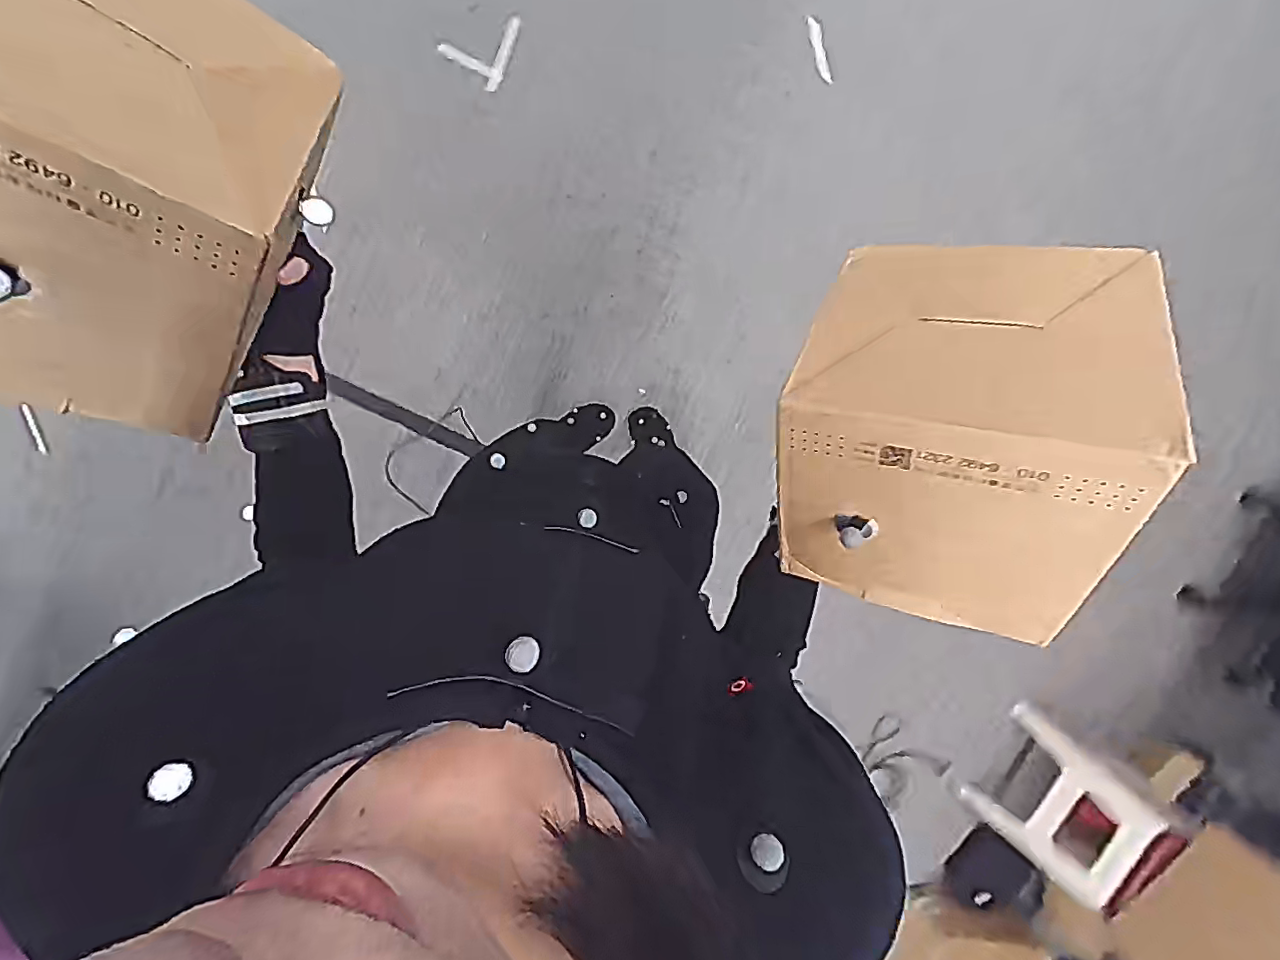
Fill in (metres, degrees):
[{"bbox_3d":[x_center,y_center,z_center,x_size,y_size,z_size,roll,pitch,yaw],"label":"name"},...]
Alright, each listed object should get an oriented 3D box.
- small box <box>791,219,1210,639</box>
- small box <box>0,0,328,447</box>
[{"bbox_3d":[0.195,-0.038,0.334,0.168,0.179,0.176,13,144,25],"label":"small box"},{"bbox_3d":[-0.277,-0.150,0.263,0.168,0.179,0.176,20,136,-35],"label":"small box"}]
